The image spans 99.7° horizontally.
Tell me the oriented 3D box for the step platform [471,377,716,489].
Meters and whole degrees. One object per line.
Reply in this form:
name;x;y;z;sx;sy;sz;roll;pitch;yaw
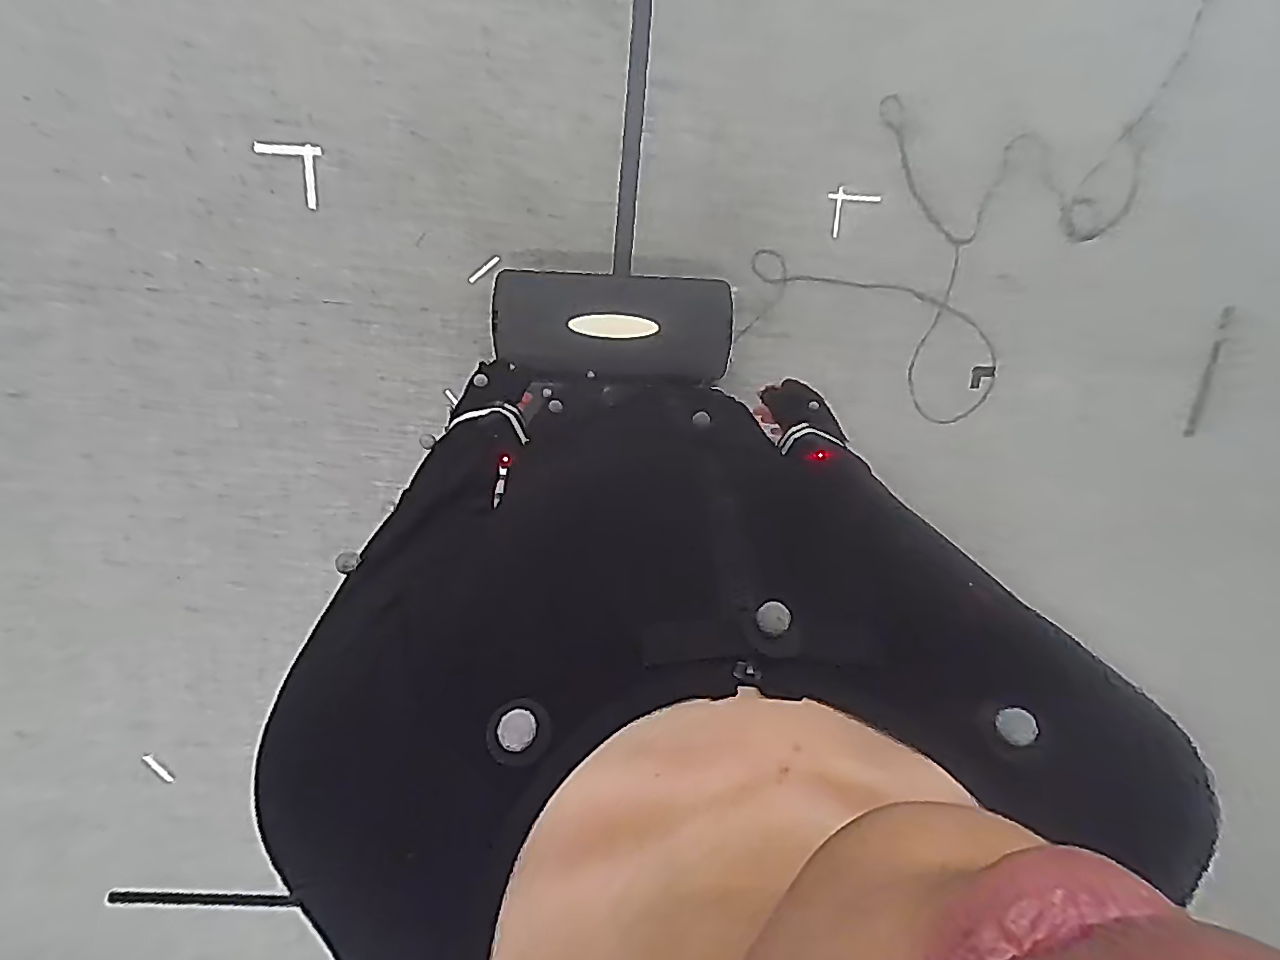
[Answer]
step platform;-0.125;-0.134;1.544;0.684;0.204;0.286;2;101;-2
